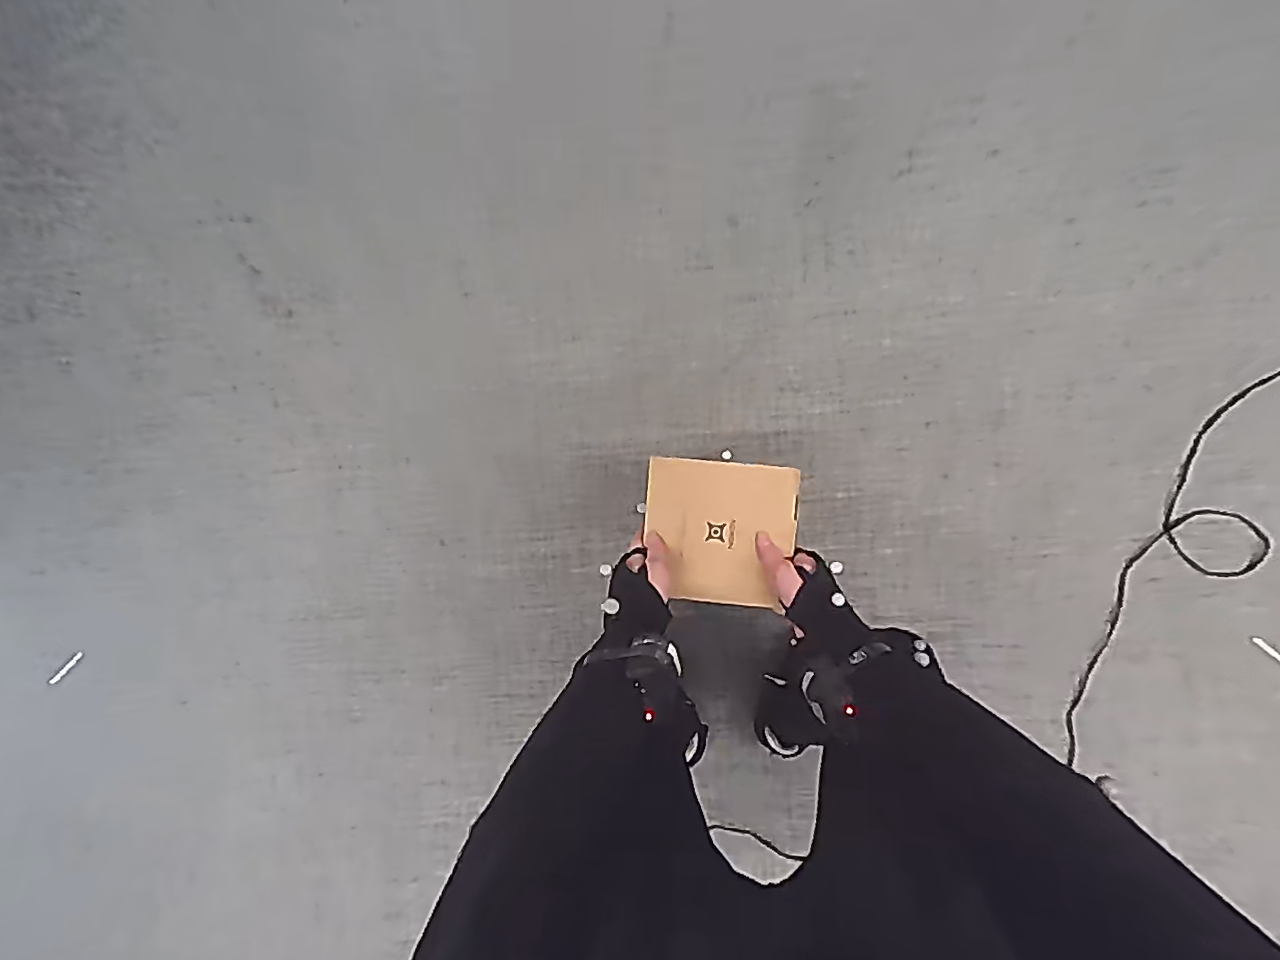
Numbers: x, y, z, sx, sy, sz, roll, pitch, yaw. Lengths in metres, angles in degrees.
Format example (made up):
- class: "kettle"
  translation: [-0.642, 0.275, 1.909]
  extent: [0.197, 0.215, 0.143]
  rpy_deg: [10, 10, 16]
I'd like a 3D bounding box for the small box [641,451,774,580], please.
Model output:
- class: "small box"
  translation: [0.125, 0.063, 0.981]
  extent: [0.179, 0.176, 0.168]
  rpy_deg: [-27, 85, 7]
